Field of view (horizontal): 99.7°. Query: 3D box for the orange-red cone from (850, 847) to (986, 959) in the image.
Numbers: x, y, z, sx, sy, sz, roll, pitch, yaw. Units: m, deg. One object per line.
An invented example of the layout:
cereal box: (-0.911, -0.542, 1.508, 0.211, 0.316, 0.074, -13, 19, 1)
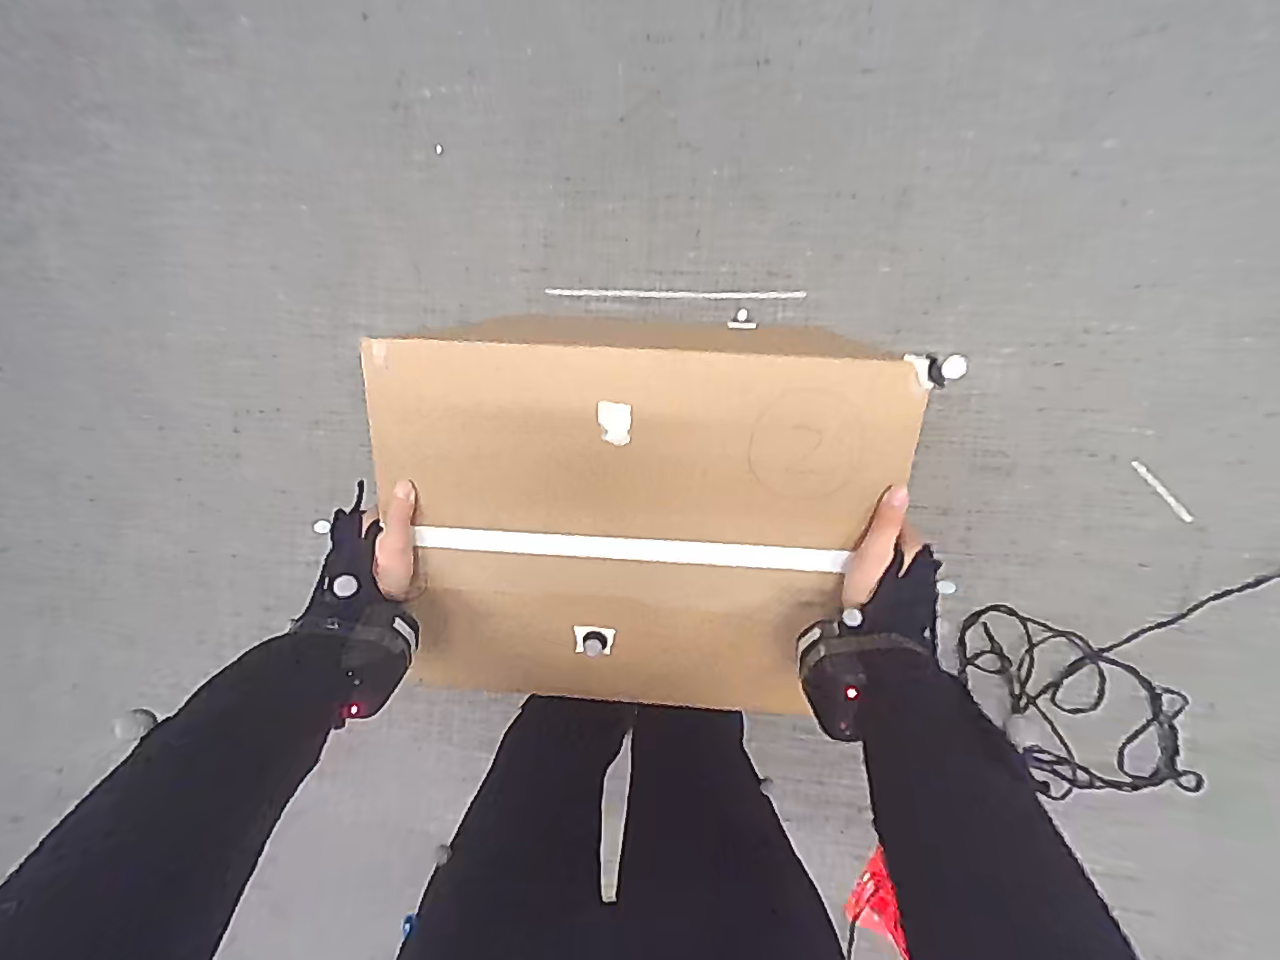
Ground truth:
orange-red cone: (0.502, 0.828, 0.857, 0.199, 0.360, 0.198, 24, 99, 4)

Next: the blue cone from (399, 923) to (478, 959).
blue cone: (-0.473, 1.097, 1.039, 0.192, 0.380, 0.193, 4, 96, 8)
